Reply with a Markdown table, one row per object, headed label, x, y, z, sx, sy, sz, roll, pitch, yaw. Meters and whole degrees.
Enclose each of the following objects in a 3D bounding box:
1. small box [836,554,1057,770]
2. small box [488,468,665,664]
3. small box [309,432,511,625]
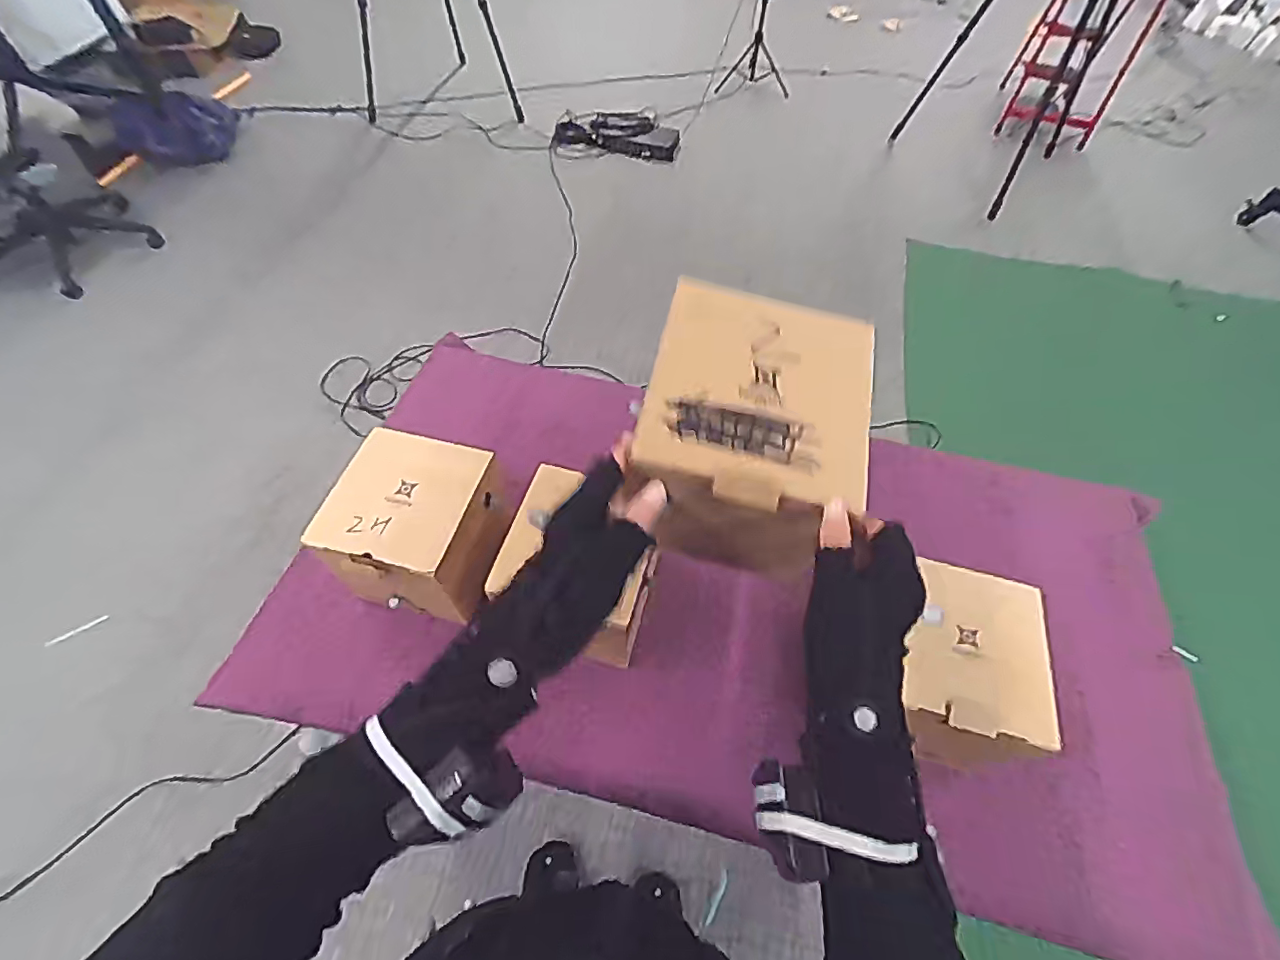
| label | x | y | z | sx | sy | sz | roll | pitch | yaw |
| --- | --- | --- | --- | --- | --- | --- | --- | --- | --- |
| small box | 0.343 | 0.219 | 0.640 | 0.168 | 0.176 | 0.179 | 14 | 57 | 8 |
| small box | -0.070 | 0.117 | 0.695 | 0.168 | 0.176 | 0.179 | 14 | 56 | 7 |
| small box | -0.283 | 0.068 | 0.719 | 0.168 | 0.176 | 0.179 | 12 | 57 | 7 |
